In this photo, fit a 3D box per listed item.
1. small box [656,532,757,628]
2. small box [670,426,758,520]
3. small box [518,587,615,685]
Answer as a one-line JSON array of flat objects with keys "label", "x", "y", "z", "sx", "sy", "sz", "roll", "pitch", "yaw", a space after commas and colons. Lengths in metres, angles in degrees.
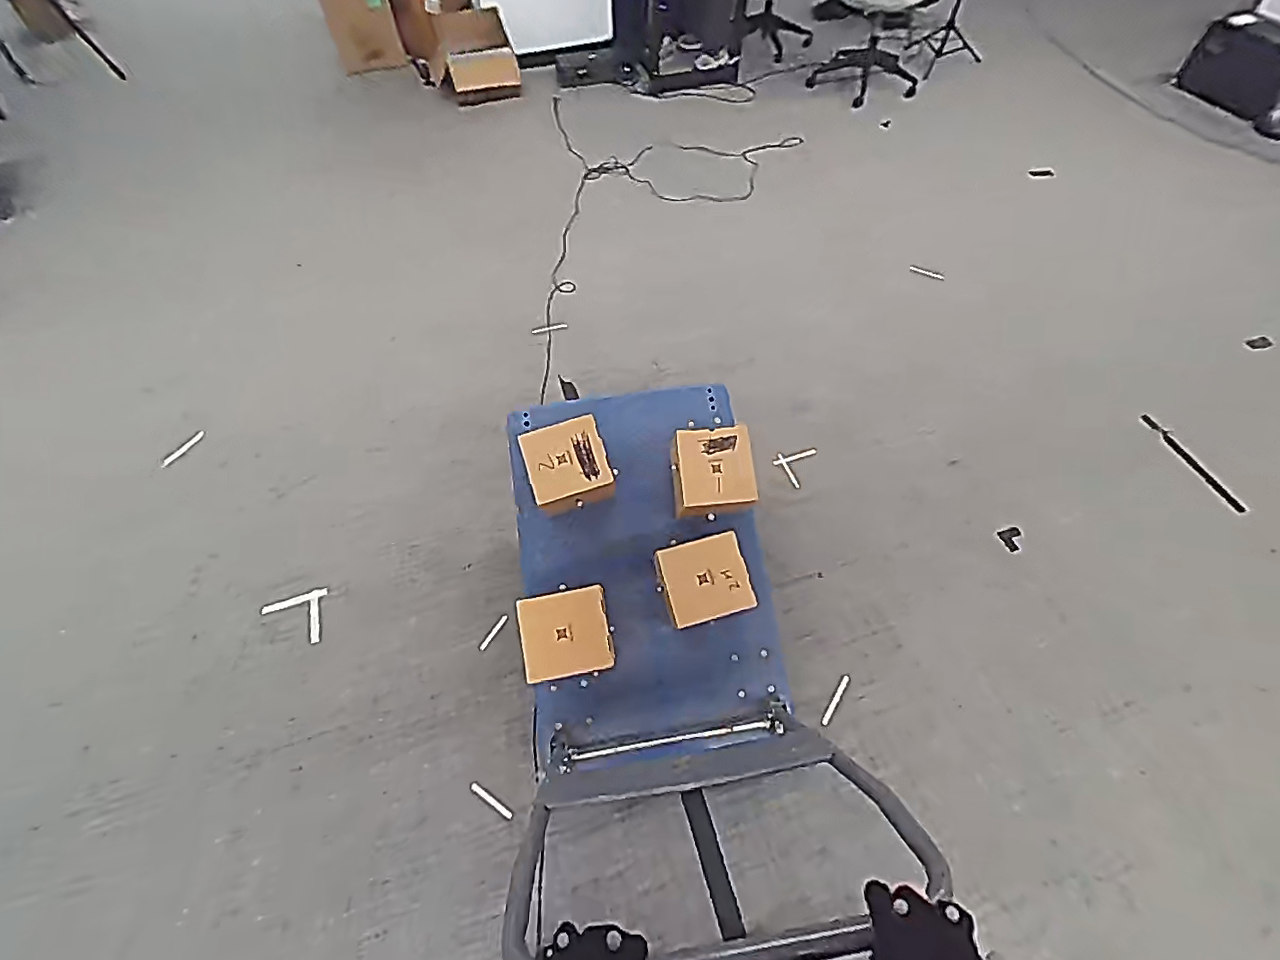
[{"label": "small box", "x": 0.138, "y": 0.227, "z": 1.204, "sx": 0.179, "sy": 0.176, "sz": 0.168, "roll": -15, "pitch": 78, "yaw": -5}, {"label": "small box", "x": 0.165, "y": -0.012, "z": 1.263, "sx": 0.168, "sy": 0.176, "sz": 0.179, "roll": -6, "pitch": 78, "yaw": -2}, {"label": "small box", "x": -0.154, "y": 0.335, "z": 1.172, "sx": 0.179, "sy": 0.176, "sz": 0.168, "roll": -11, "pitch": 77, "yaw": -6}]
